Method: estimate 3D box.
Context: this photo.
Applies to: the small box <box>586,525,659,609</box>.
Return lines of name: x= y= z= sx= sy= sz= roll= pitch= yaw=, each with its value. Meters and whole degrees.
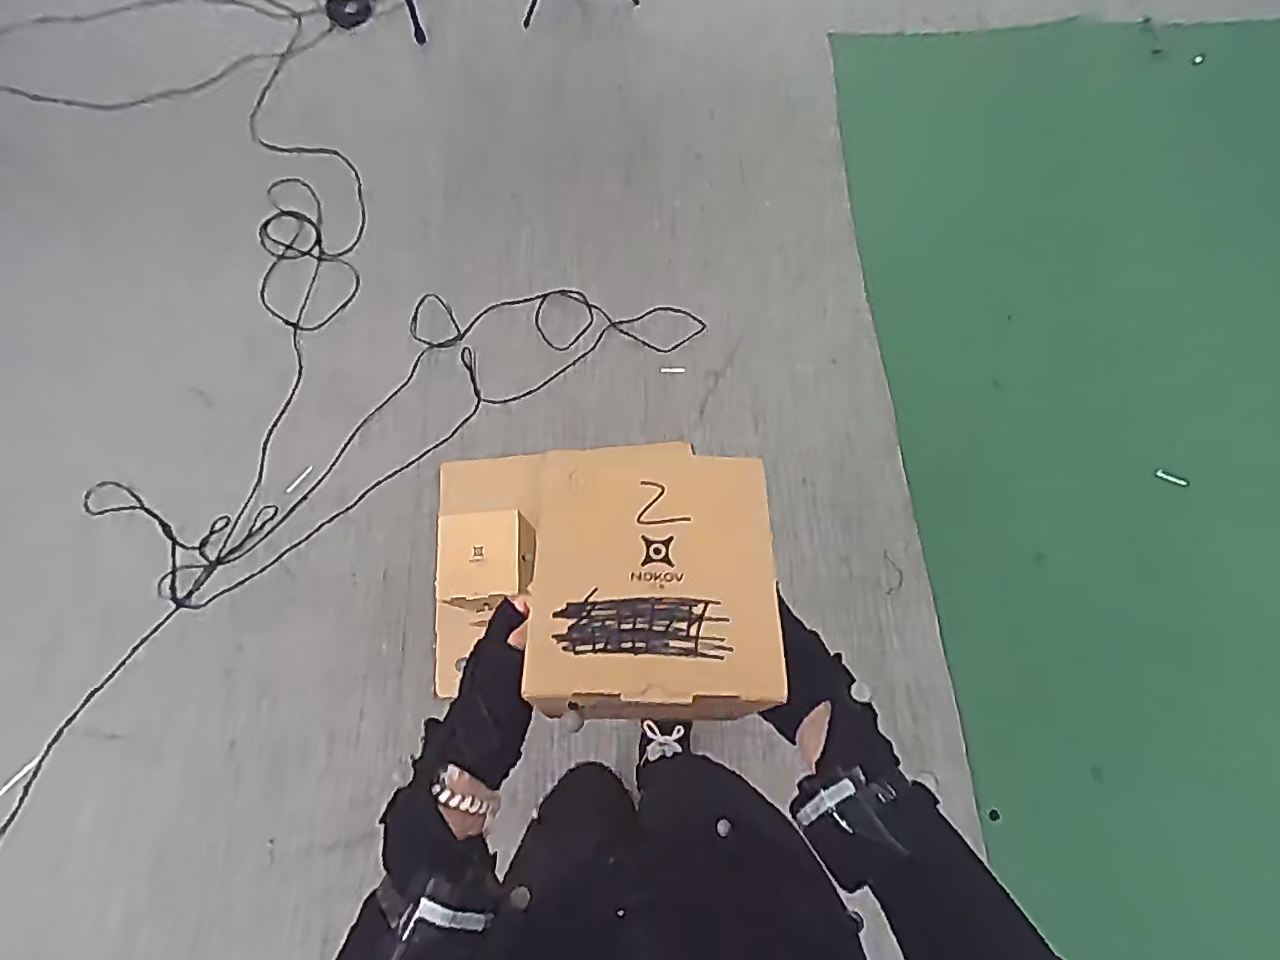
small box: x=-0.038 y=0.214 z=1.306 sx=0.168 sy=0.176 sz=0.179 roll=-1 pitch=72 yaw=2

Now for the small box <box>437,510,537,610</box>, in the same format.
small box: x=-0.318 y=0.175 z=1.154 sx=0.168 sy=0.176 sz=0.179 roll=-5 pitch=71 yaw=0

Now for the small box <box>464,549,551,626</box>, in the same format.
small box: x=-0.314 y=0.254 z=1.300 sx=0.168 sy=0.176 sz=0.179 roll=-7 pitch=71 yaw=-1
